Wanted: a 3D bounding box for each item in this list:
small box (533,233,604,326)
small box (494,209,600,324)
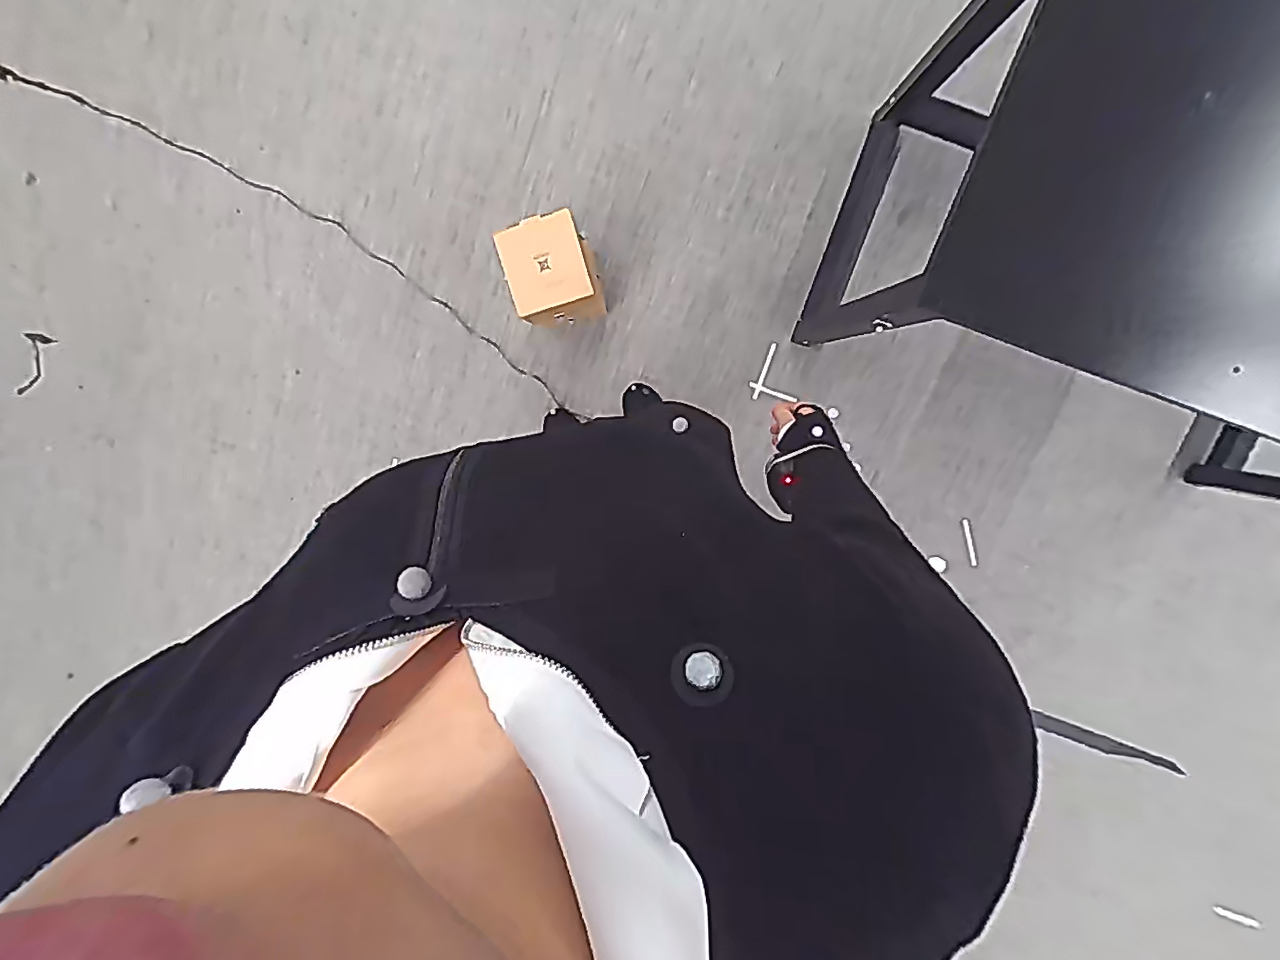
[{"bbox_3d":[-0.189,-0.486,1.339,0.168,0.176,0.179,-12,99,3],"label":"small box"},{"bbox_3d":[-0.195,-0.455,1.179,0.168,0.176,0.179,-16,100,5],"label":"small box"}]
